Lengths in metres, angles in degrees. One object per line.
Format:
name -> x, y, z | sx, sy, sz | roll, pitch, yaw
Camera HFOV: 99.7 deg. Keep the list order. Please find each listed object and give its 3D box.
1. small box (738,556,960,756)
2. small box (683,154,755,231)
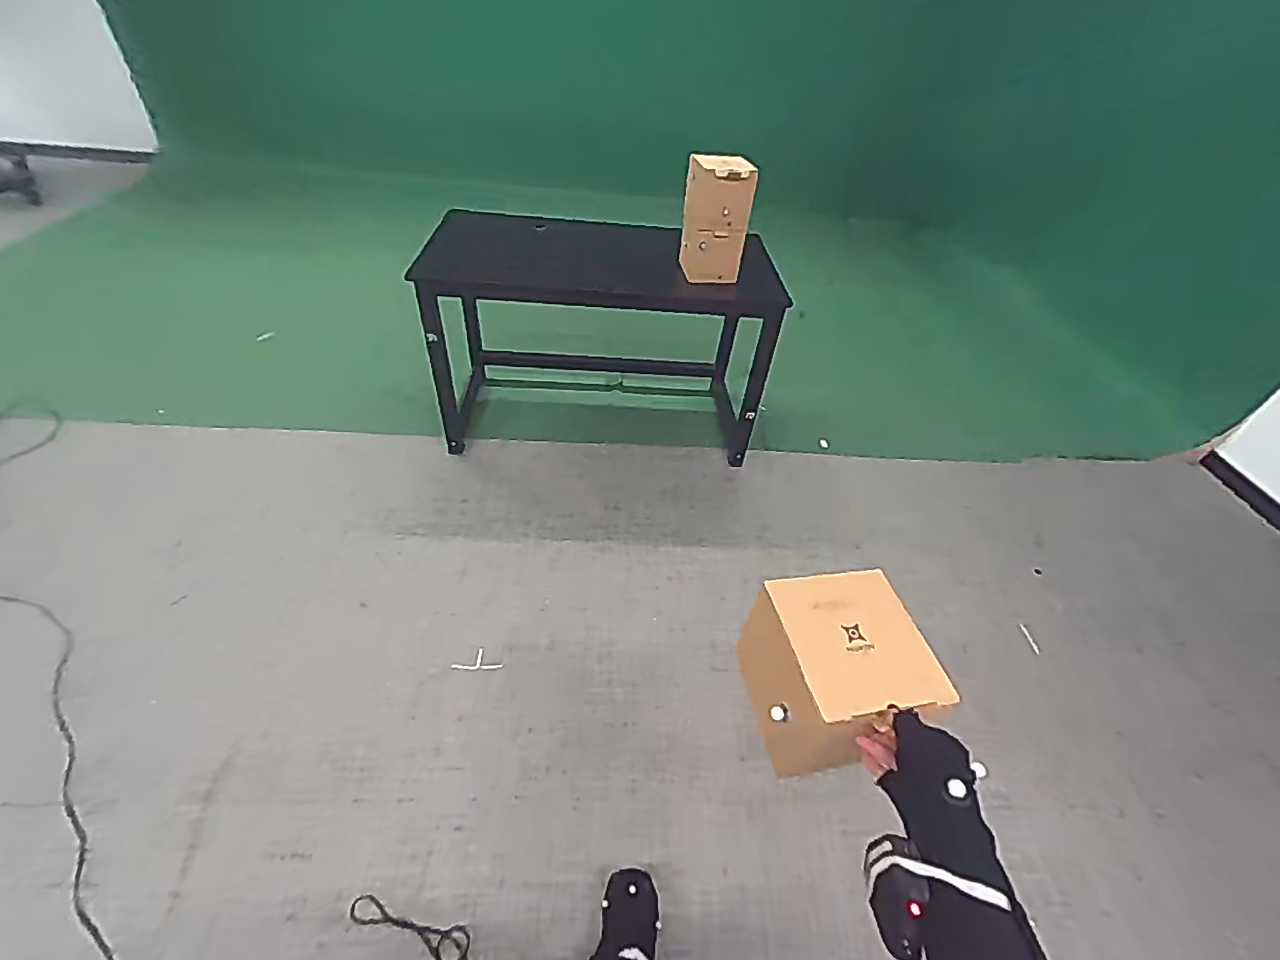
small box -> 0.238, 0.220, 0.666 | 0.168, 0.176, 0.179 | -3, 44, -13
small box -> 0.237, -0.887, 1.670 | 0.168, 0.176, 0.179 | -4, 44, -10
